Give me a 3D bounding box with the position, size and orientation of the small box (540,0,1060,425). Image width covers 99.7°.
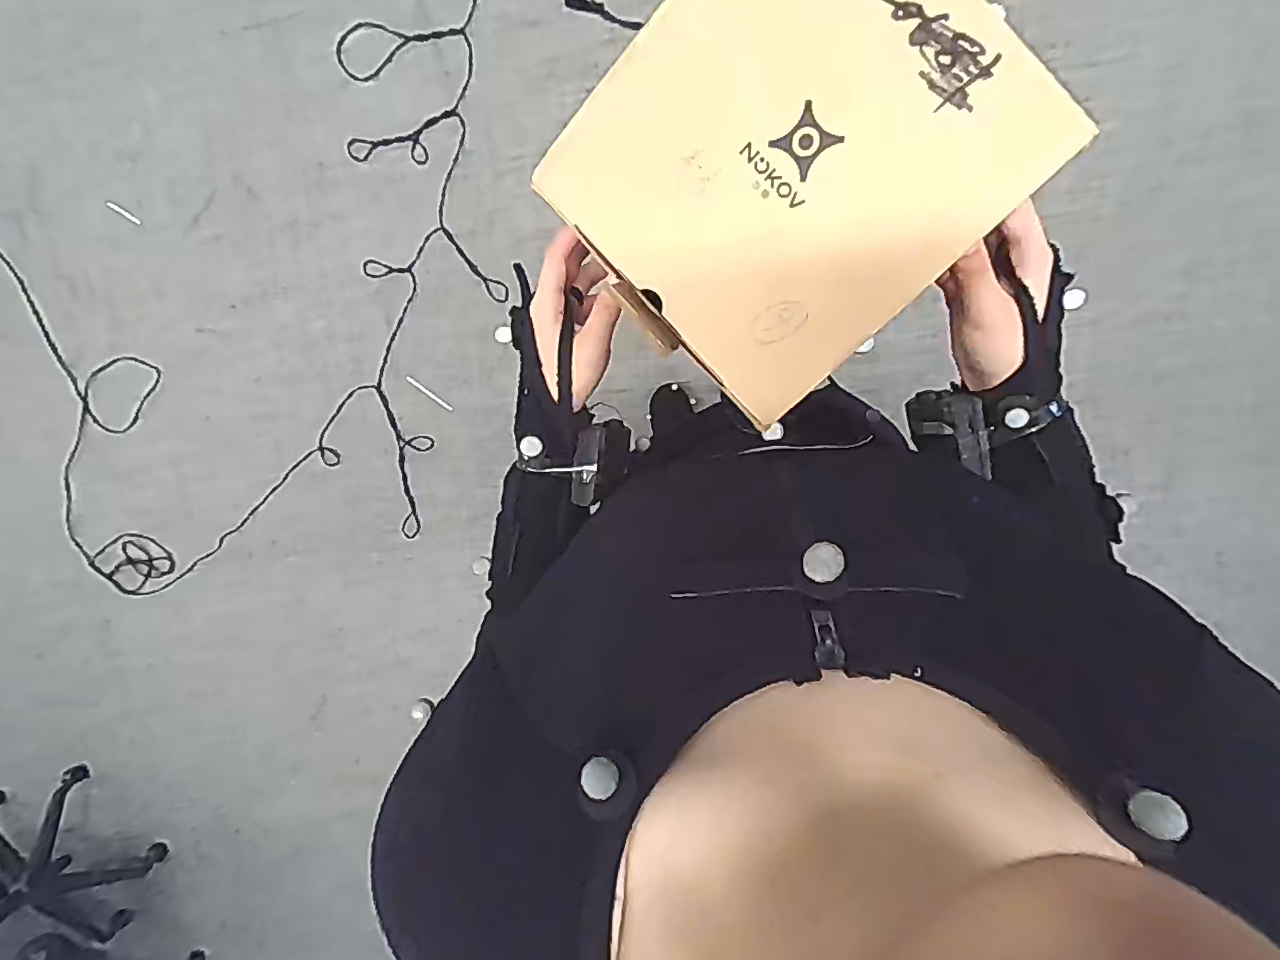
[{"bbox_3d":[0.078,-0.157,0.324,0.179,0.176,0.168,-43,92,16],"label":"small box"}]
